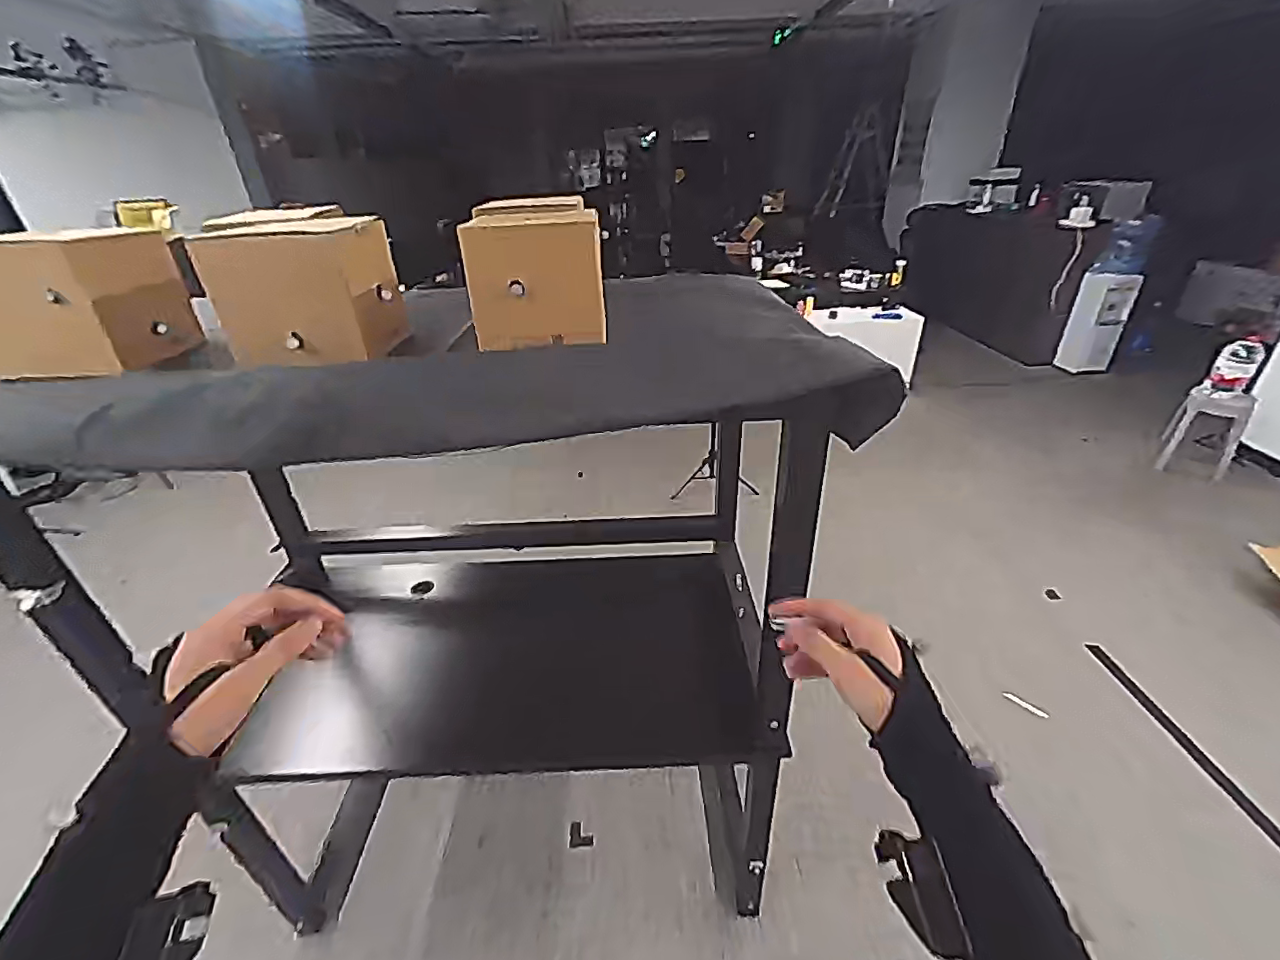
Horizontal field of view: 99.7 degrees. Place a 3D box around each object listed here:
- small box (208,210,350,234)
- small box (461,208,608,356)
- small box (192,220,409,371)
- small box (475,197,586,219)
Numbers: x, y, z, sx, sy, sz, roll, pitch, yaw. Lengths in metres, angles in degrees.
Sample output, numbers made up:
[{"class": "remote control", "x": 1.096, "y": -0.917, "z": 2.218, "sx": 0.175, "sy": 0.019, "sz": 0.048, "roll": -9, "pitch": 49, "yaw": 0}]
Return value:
[{"class": "small box", "x": -0.616, "y": -0.386, "z": 0.977, "sx": 0.168, "sy": 0.176, "sz": 0.179, "roll": -7, "pitch": 31, "yaw": -5}, {"class": "small box", "x": -0.133, "y": -0.274, "z": 0.752, "sx": 0.168, "sy": 0.176, "sz": 0.179, "roll": -4, "pitch": 30, "yaw": -2}, {"class": "small box", "x": -0.442, "y": -0.256, "z": 0.745, "sx": 0.179, "sy": 0.176, "sz": 0.168, "roll": -3, "pitch": 30, "yaw": -1}, {"class": "small box", "x": -0.184, "y": -0.419, "z": 0.996, "sx": 0.179, "sy": 0.176, "sz": 0.168, "roll": -3, "pitch": 31, "yaw": 0}]
